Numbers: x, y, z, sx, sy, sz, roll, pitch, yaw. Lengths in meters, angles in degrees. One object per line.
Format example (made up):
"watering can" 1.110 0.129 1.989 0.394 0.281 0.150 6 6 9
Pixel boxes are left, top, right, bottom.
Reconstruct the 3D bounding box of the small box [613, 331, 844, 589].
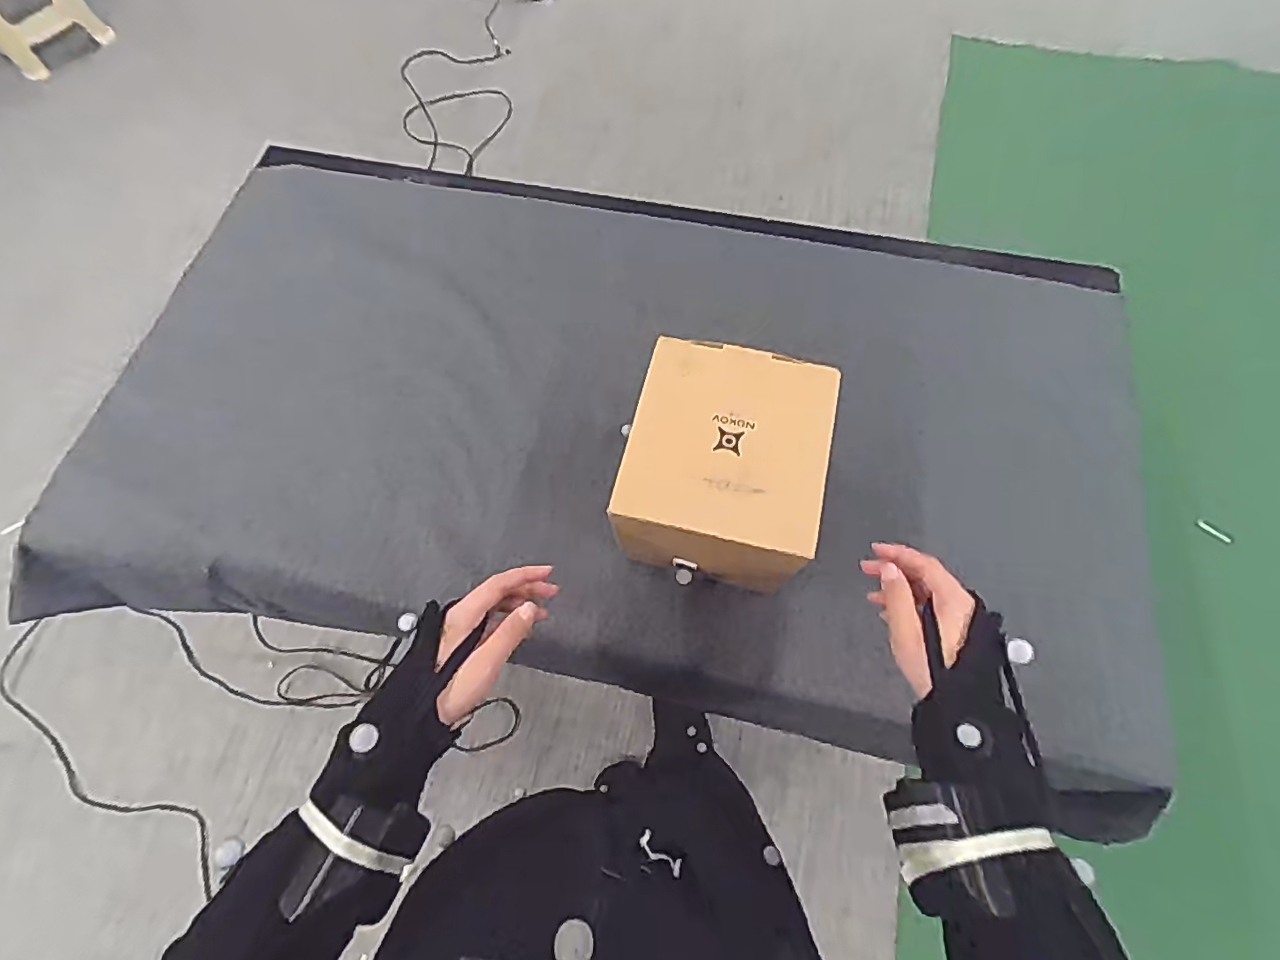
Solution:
"small box" 0.080 -0.010 0.518 0.168 0.176 0.179 12 71 8
